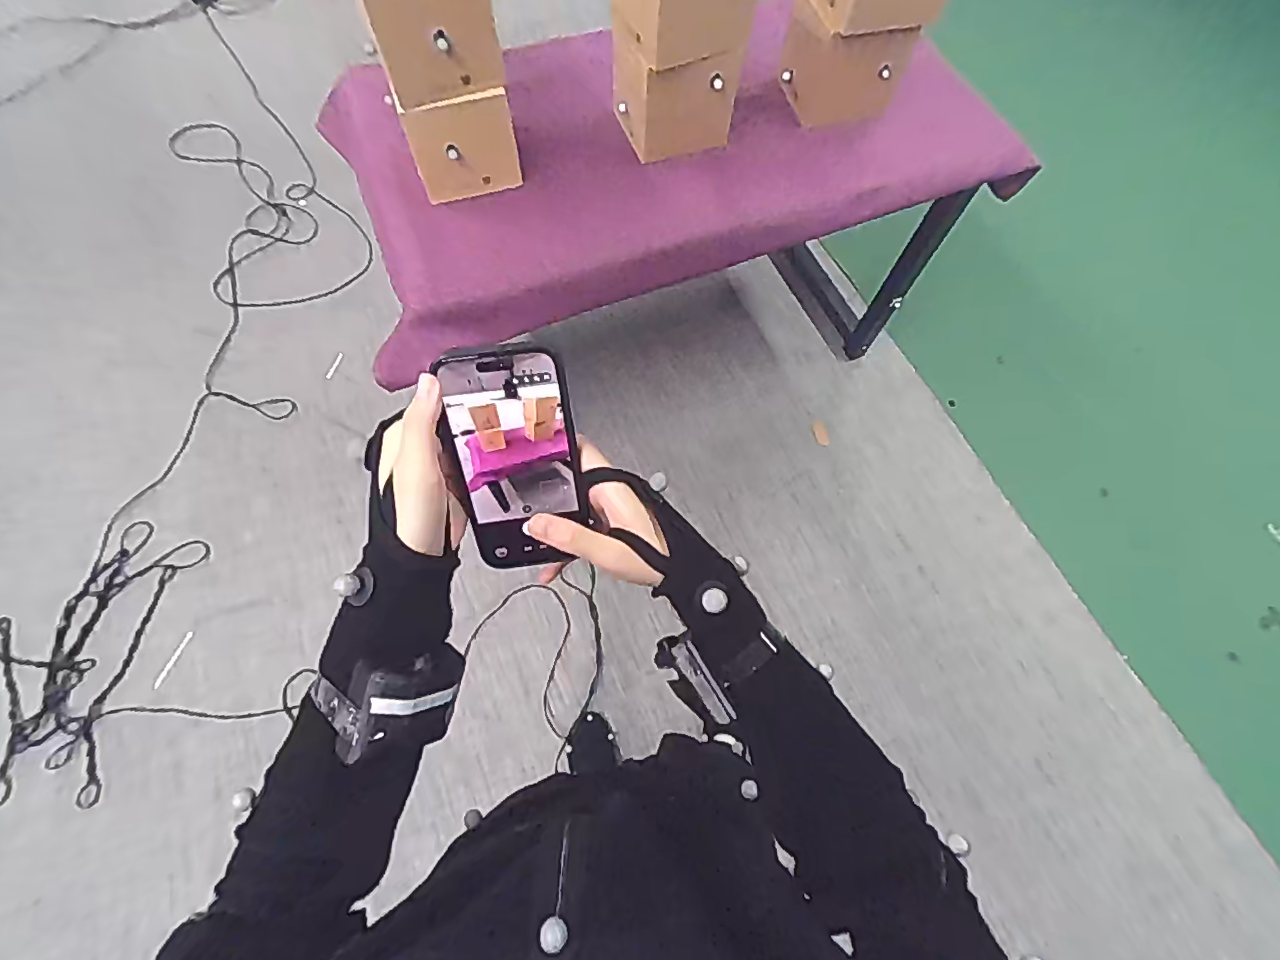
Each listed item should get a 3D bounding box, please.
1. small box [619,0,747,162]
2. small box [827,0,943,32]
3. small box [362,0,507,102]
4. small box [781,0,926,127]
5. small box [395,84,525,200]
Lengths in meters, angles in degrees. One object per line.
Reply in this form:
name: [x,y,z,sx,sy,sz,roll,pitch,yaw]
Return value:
small box: [0.068,-0.715,0.975,0.179,0.176,0.168,-19,69,-9]
small box: [0.408,-0.861,0.869,0.179,0.176,0.168,-13,68,-7]
small box: [-0.305,-0.680,0.775,0.168,0.176,0.179,-23,71,-11]
small box: [0.391,-0.809,1.024,0.179,0.176,0.168,-13,68,-6]
small box: [-0.305,-0.610,0.924,0.168,0.176,0.179,-18,69,-9]
